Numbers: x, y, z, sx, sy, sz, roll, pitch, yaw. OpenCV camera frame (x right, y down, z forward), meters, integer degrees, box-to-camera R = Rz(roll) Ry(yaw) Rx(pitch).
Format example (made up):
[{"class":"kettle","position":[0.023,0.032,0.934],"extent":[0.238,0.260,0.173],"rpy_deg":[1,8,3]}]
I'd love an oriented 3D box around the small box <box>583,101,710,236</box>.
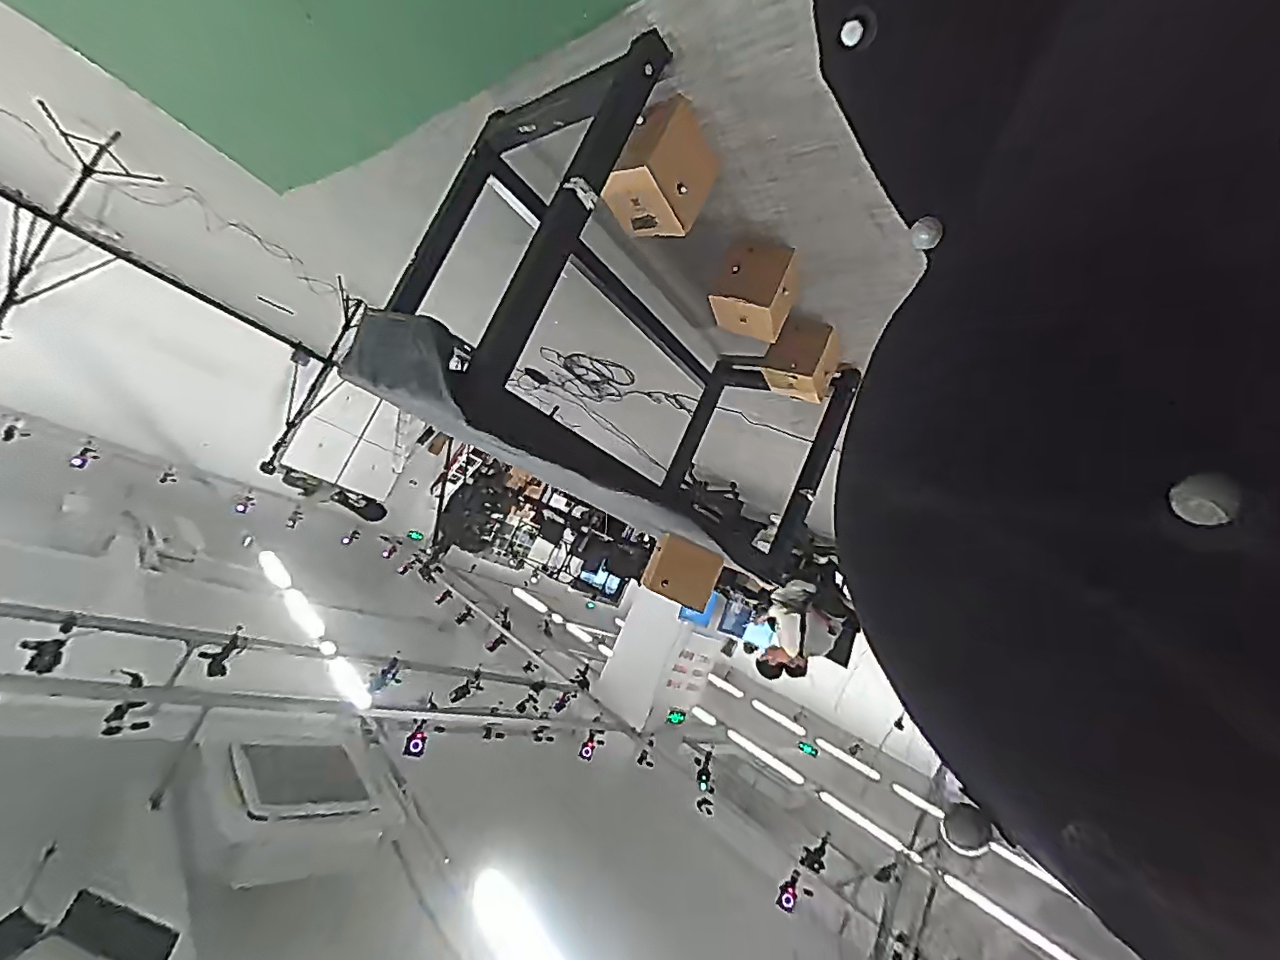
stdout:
[{"class":"small box","position":[0.021,-0.637,1.123],"extent":[0.168,0.176,0.179],"rpy_deg":[18,169,37]}]

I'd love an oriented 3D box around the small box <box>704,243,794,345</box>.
[{"class":"small box","position":[0.285,-0.480,1.390],"extent":[0.168,0.176,0.179],"rpy_deg":[22,173,23]}]

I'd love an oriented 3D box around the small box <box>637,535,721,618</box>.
[{"class":"small box","position":[0.110,0.268,1.539],"extent":[0.179,0.176,0.168],"rpy_deg":[25,172,-4]}]

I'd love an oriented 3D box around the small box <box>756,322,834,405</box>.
[{"class":"small box","position":[0.479,-0.355,1.650],"extent":[0.168,0.176,0.179],"rpy_deg":[19,172,31]}]
